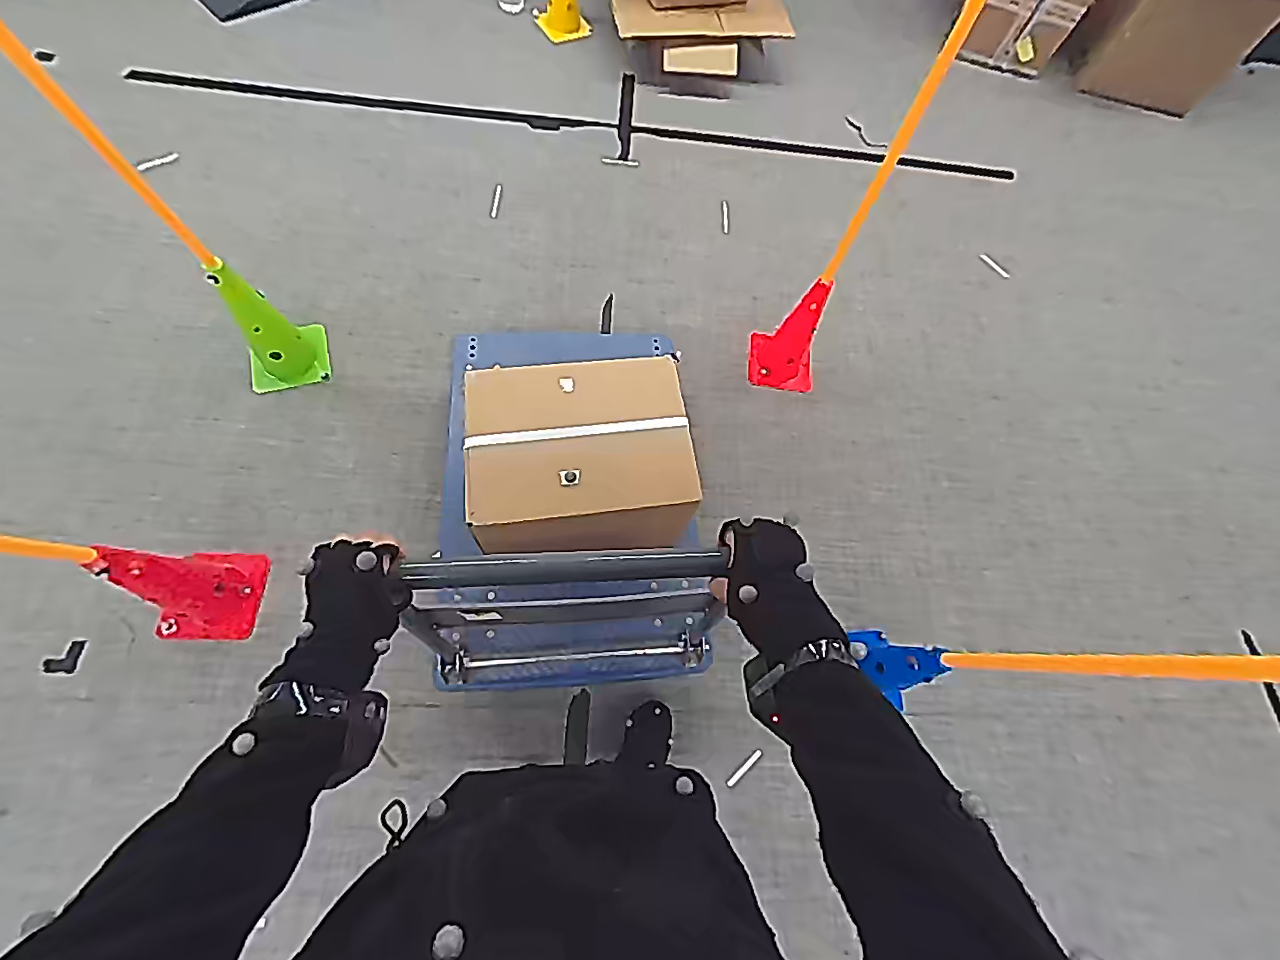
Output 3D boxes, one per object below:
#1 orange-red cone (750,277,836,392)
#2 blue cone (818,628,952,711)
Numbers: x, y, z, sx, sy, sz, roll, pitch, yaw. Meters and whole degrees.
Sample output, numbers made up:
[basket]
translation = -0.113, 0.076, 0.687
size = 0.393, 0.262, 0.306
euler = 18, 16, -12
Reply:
[orange-red cone]
translation = 0.465, -0.437, 1.538
size = 0.199, 0.360, 0.198
euler = 10, 67, -3
[blue cone]
translation = 0.567, 0.404, 1.203
size = 0.193, 0.380, 0.192
euler = 0, 66, -7
